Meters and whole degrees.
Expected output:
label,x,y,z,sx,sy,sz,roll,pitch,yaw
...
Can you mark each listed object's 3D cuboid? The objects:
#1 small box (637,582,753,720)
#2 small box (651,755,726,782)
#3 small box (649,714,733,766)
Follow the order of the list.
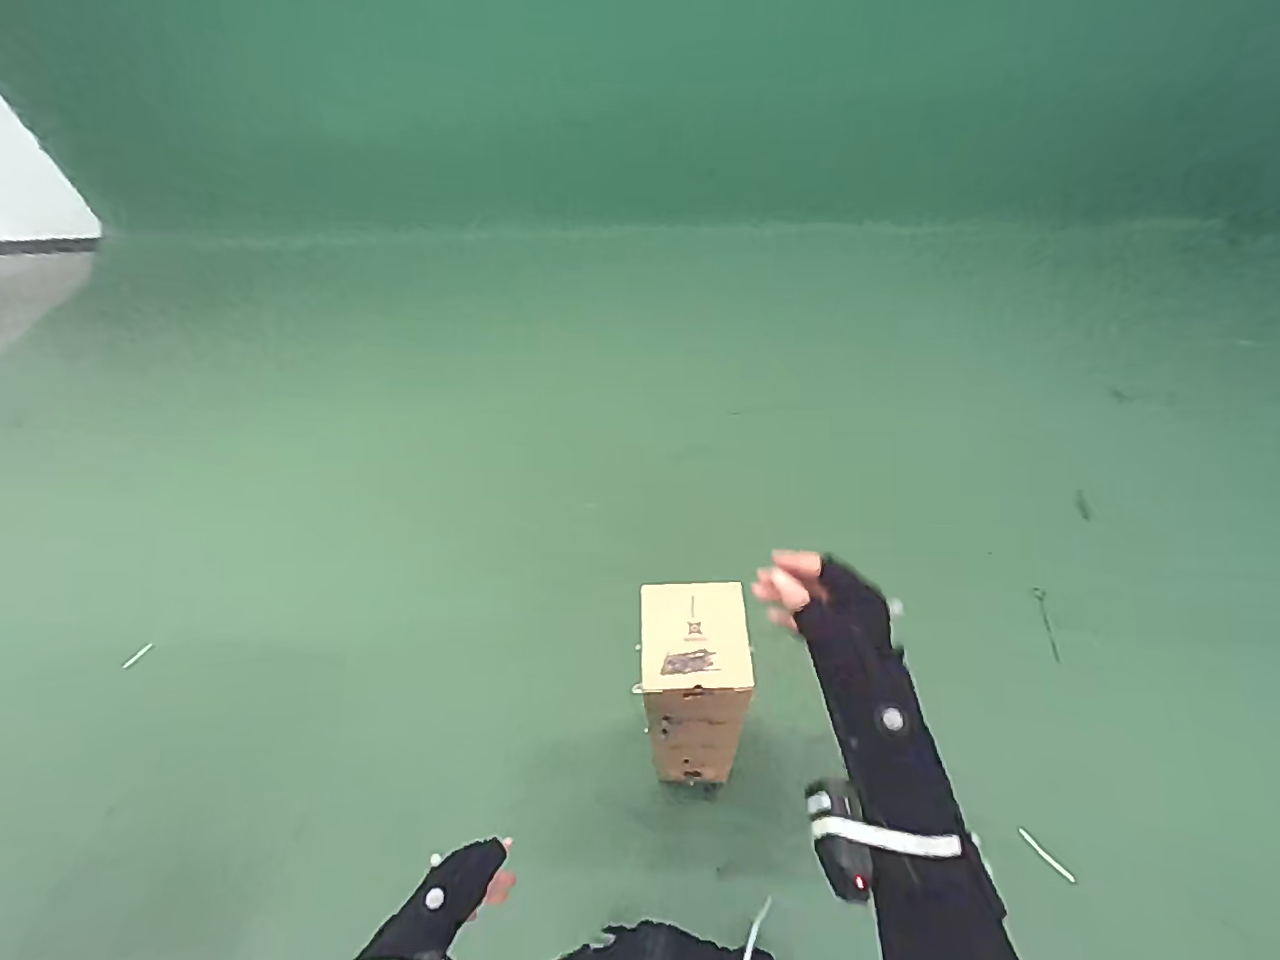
label,x,y,z,sx,sy,sz,roll,pitch,yaw
small box,0.085,0.290,0.900,0.168,0.176,0.179,-4,53,0
small box,0.113,0.598,1.281,0.168,0.176,0.179,0,51,4
small box,0.103,0.496,1.155,0.168,0.176,0.179,-1,52,2
